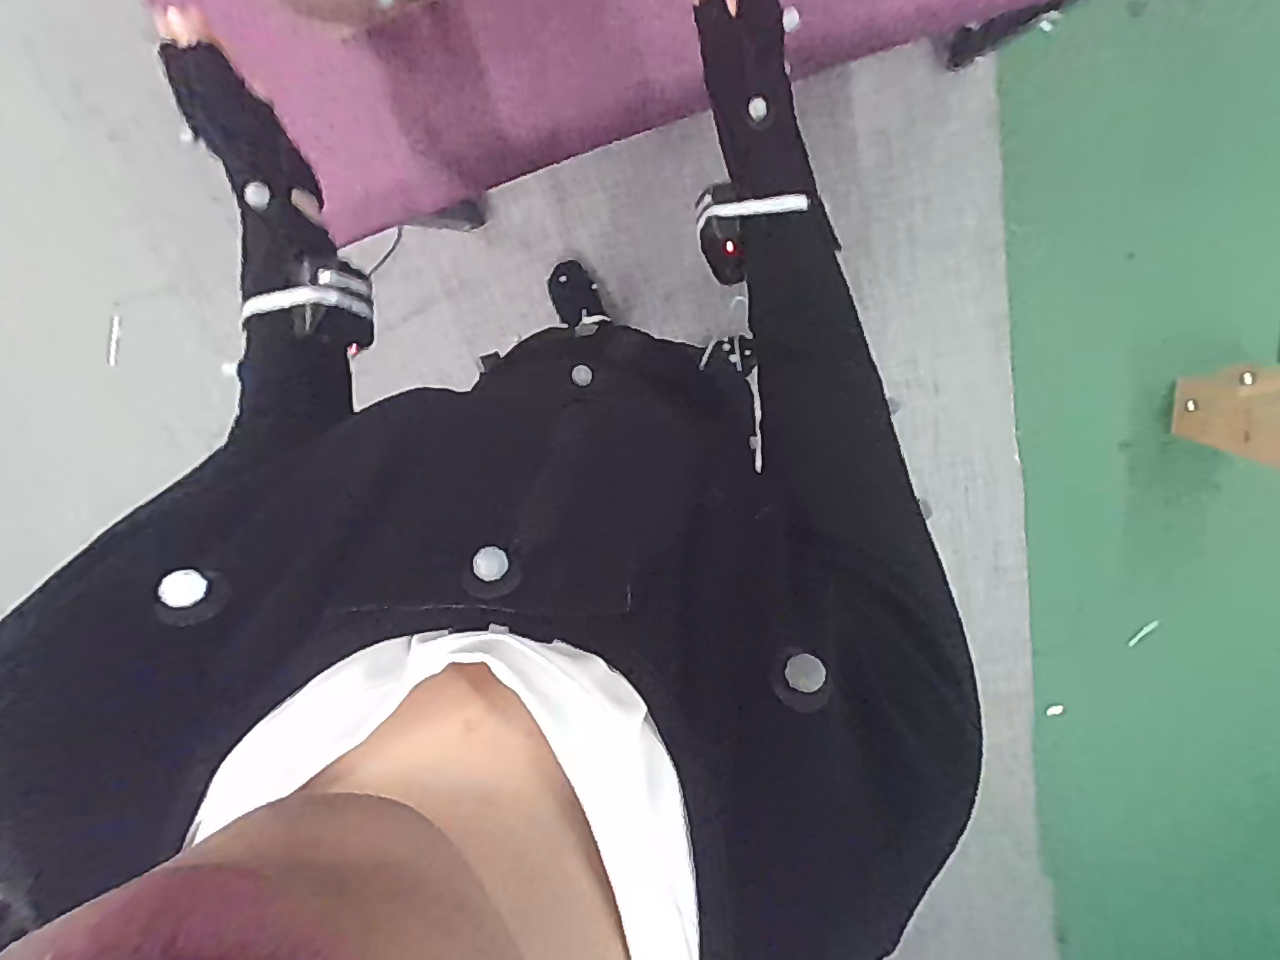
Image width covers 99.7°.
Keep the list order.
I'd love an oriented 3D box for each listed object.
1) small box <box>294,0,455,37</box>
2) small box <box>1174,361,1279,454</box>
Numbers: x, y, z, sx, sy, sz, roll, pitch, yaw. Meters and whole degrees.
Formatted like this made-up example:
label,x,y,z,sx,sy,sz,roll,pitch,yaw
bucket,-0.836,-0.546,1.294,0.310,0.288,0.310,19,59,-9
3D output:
label,x,y,z,sx,sy,sz,roll,pitch,yaw
small box,-0.265,-0.525,0.451,0.168,0.176,0.179,-14,112,7
small box,1.501,-0.185,1.342,0.179,0.176,0.168,-13,112,7
